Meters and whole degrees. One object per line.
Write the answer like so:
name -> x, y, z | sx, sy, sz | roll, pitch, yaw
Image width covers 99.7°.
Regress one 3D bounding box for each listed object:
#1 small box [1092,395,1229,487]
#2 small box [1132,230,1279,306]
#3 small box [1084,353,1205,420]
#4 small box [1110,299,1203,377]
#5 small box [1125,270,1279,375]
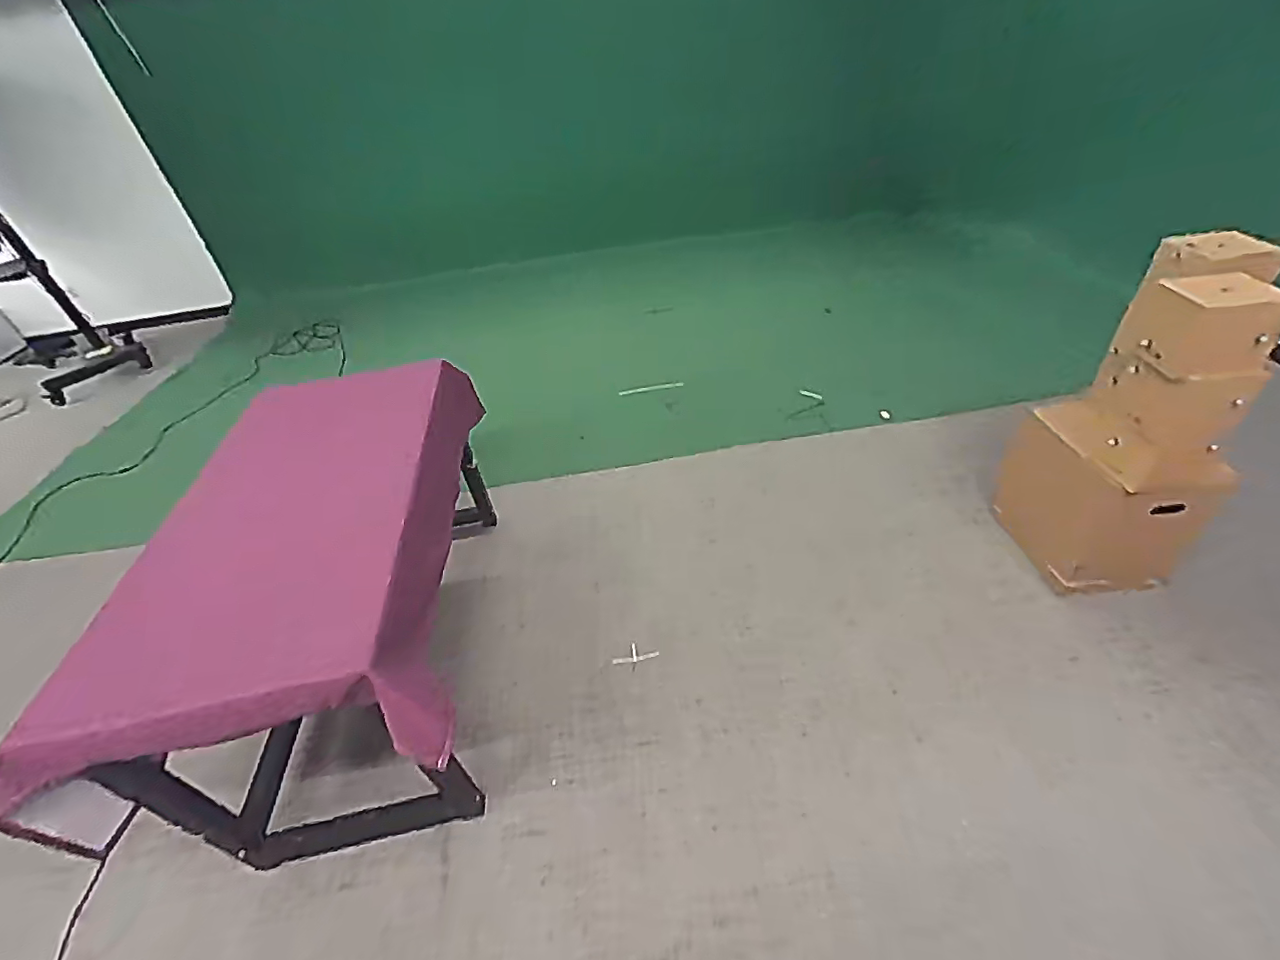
small box -> 1.332, -0.097, 1.406 | 0.179, 0.176, 0.168 | -8, 40, 1
small box -> 1.433, -0.521, 1.380 | 0.179, 0.176, 0.168 | -5, 39, 2
small box -> 1.461, -0.263, 1.584 | 0.168, 0.176, 0.179 | -3, 41, 7
small box -> 1.445, -0.392, 1.482 | 0.179, 0.176, 0.168 | -1, 40, 8
small box -> 1.258, -0.351, 1.210 | 0.179, 0.176, 0.168 | -4, 39, 7
